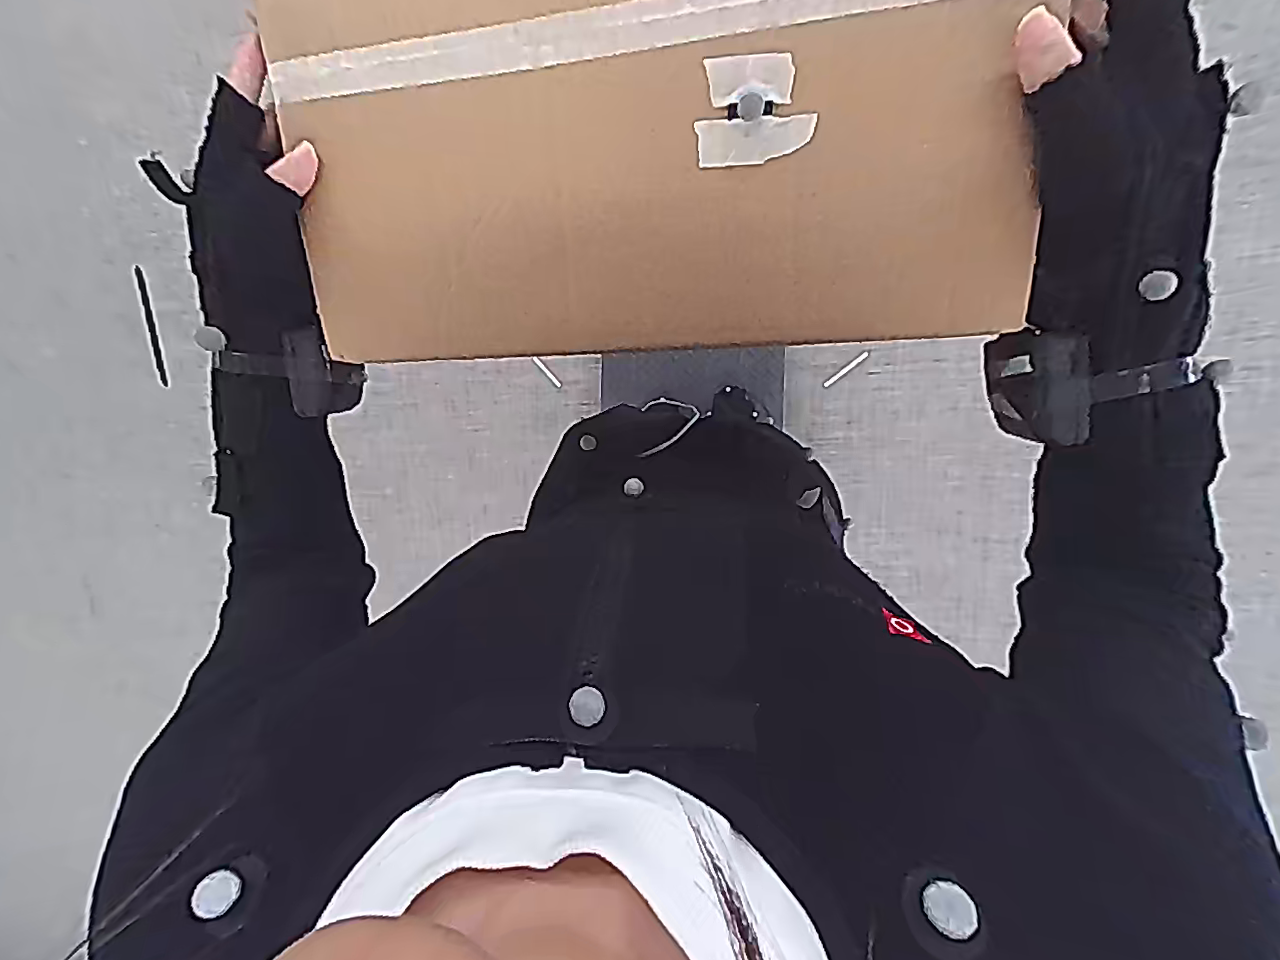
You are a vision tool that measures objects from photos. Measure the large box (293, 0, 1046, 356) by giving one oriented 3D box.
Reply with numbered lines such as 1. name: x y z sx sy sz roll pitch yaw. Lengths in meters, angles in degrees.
1. large box: 0.020 -0.274 0.428 0.408 0.320 0.320 0 106 10
